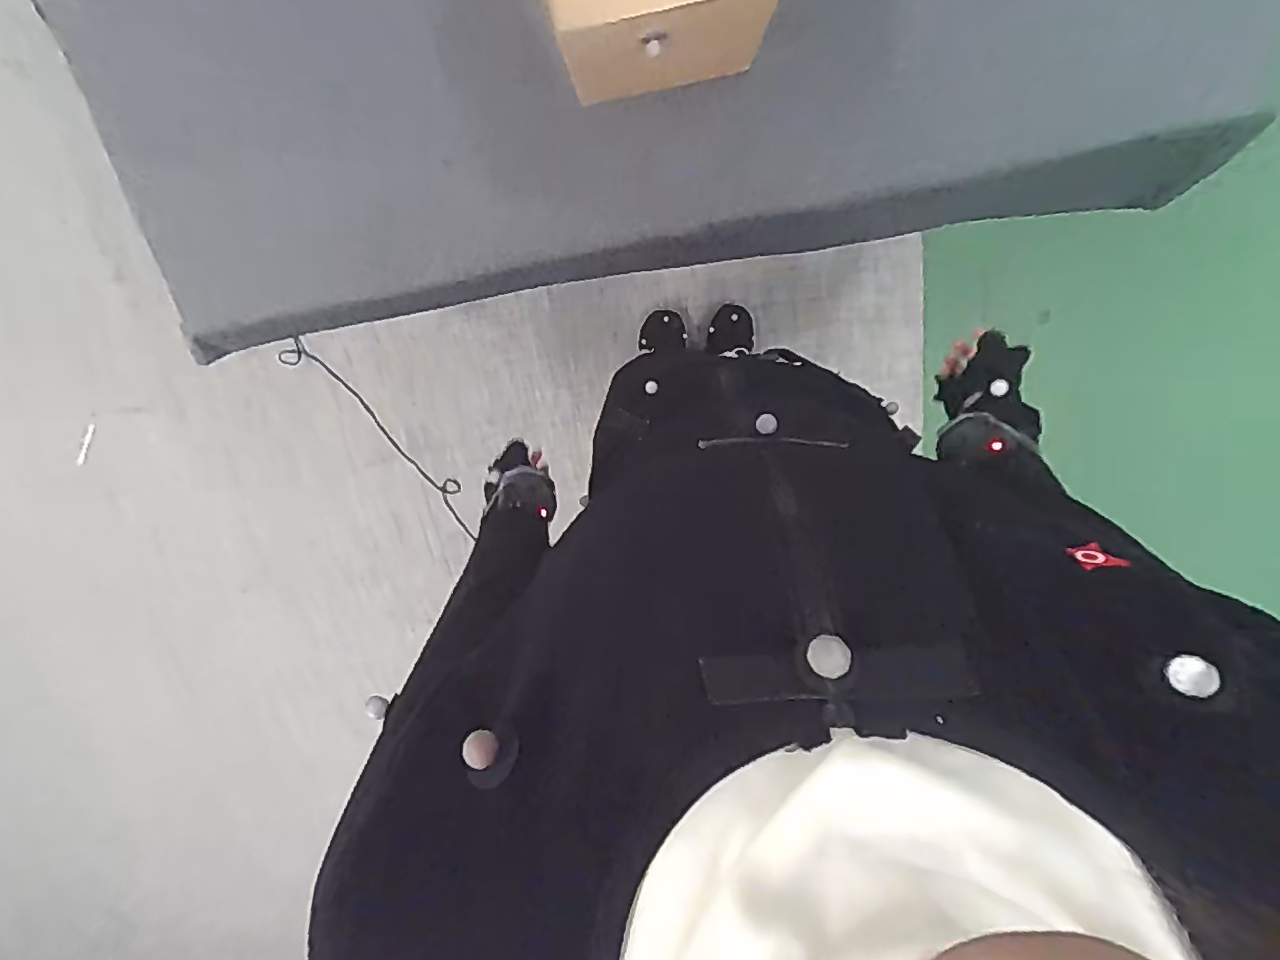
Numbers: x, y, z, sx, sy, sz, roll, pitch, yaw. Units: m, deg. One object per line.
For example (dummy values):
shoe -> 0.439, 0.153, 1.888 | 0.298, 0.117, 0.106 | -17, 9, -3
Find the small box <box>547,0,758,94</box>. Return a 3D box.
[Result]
small box -> 0.007, -0.463, 0.461 | 0.179, 0.176, 0.168 | -9, 108, 4
